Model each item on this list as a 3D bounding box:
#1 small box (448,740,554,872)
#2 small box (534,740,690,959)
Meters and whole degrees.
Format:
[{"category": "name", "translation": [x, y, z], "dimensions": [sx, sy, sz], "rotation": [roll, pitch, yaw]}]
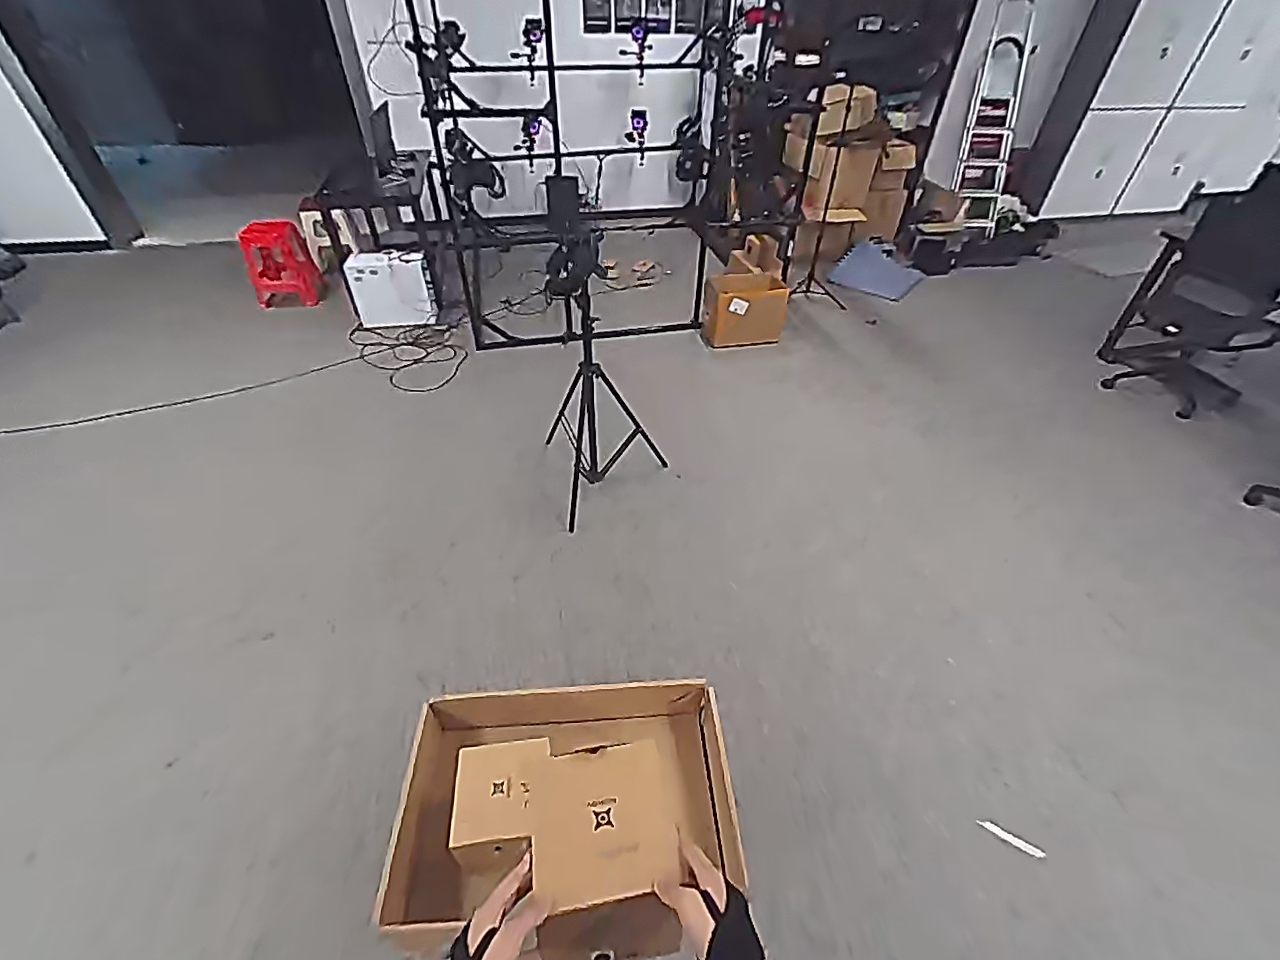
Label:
[{"category": "small box", "translation": [-0.251, 0.625, 1.036], "dimensions": [0.179, 0.176, 0.168], "rotation": [-3, 42, -7]}, {"category": "small box", "translation": [-0.044, 0.461, 0.667], "dimensions": [0.168, 0.176, 0.179], "rotation": [-5, 29, -10]}]
